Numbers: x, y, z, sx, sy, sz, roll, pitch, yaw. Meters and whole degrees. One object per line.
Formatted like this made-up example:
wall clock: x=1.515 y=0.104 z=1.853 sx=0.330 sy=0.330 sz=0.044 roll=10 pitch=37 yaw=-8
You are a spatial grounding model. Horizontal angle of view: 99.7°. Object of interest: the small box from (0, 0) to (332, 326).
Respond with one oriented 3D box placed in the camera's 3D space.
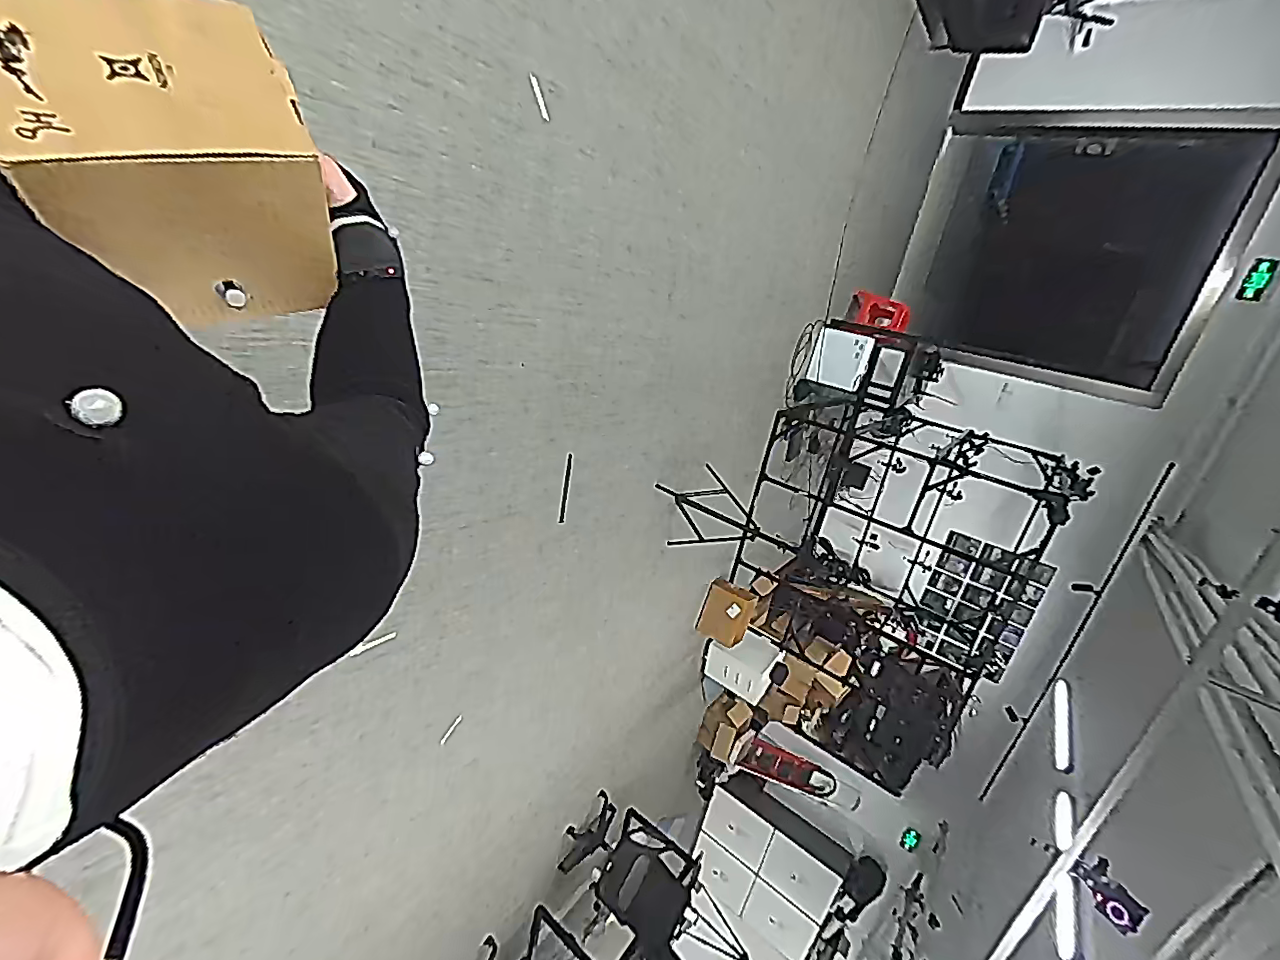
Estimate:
small box: x=-0.383 y=-0.258 z=0.464 sx=0.179 sy=0.168 sz=0.176 roll=-21 pitch=166 yaw=-31
